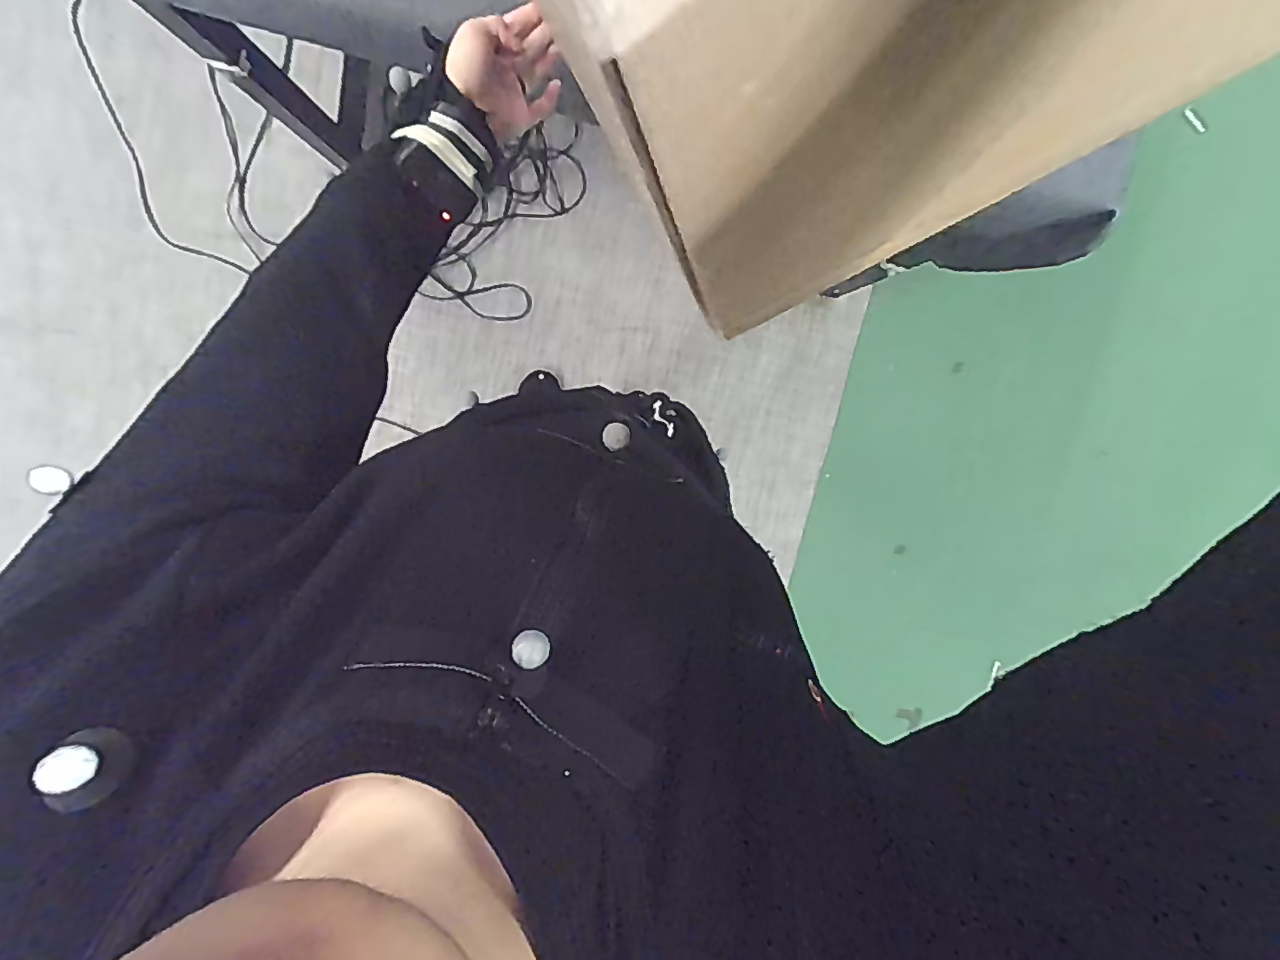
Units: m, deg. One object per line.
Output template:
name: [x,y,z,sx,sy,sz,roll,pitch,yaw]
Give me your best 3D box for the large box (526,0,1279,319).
large box: [0.058,-0.356,0.213,0.320,0.320,0.408,-28,63,9]
